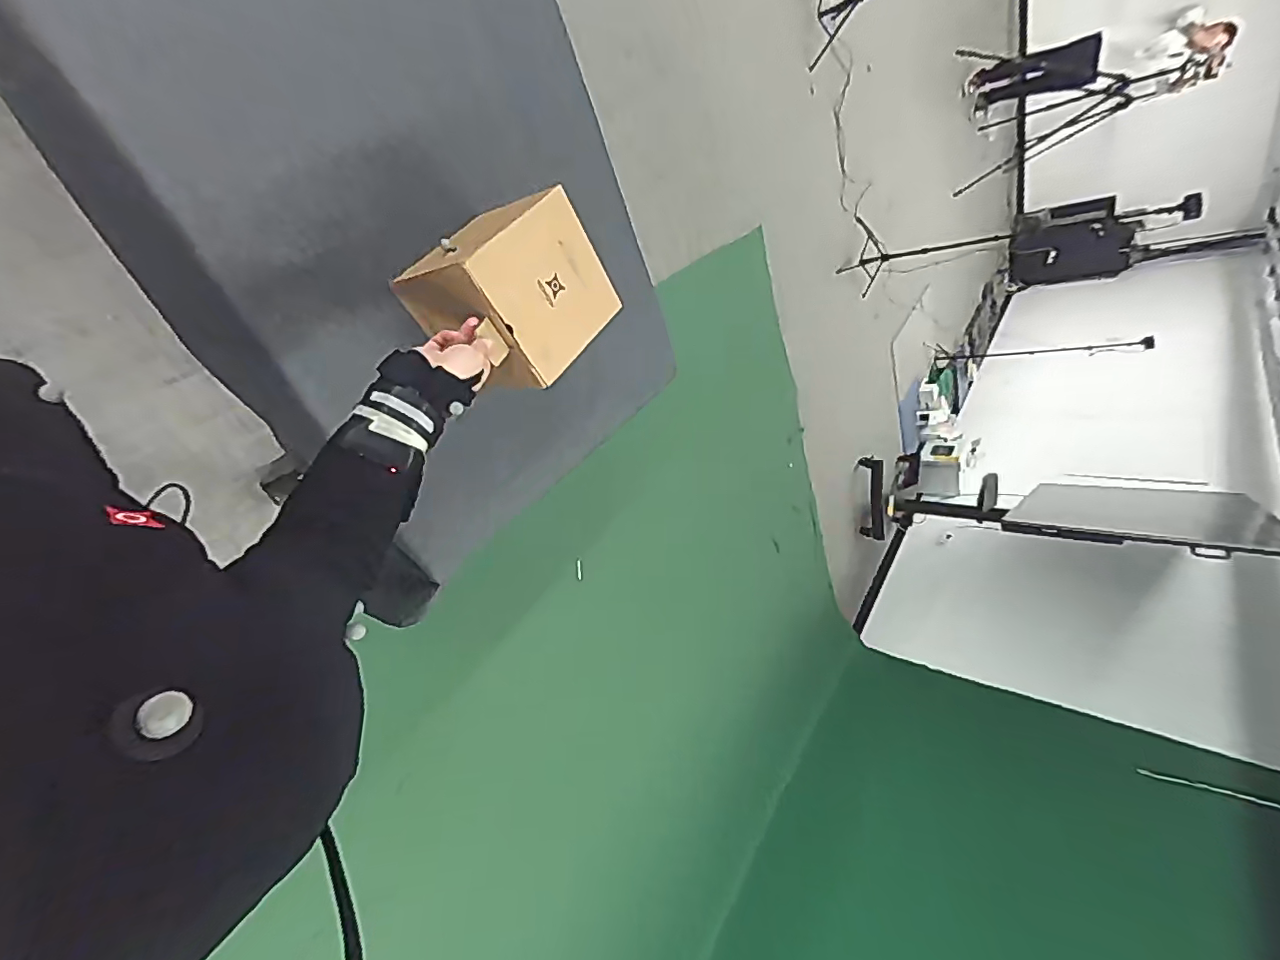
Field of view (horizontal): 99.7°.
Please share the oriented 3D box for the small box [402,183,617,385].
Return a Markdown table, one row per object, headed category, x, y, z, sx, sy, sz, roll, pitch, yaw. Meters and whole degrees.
| category | x | y | z | sx | sy | sz | roll | pitch | yaw |
| --- | --- | --- | --- | --- | --- | --- | --- | --- | --- |
| small box | -0.167 | -0.234 | 0.682 | 0.179 | 0.176 | 0.168 | -56 | 134 | -29 |
